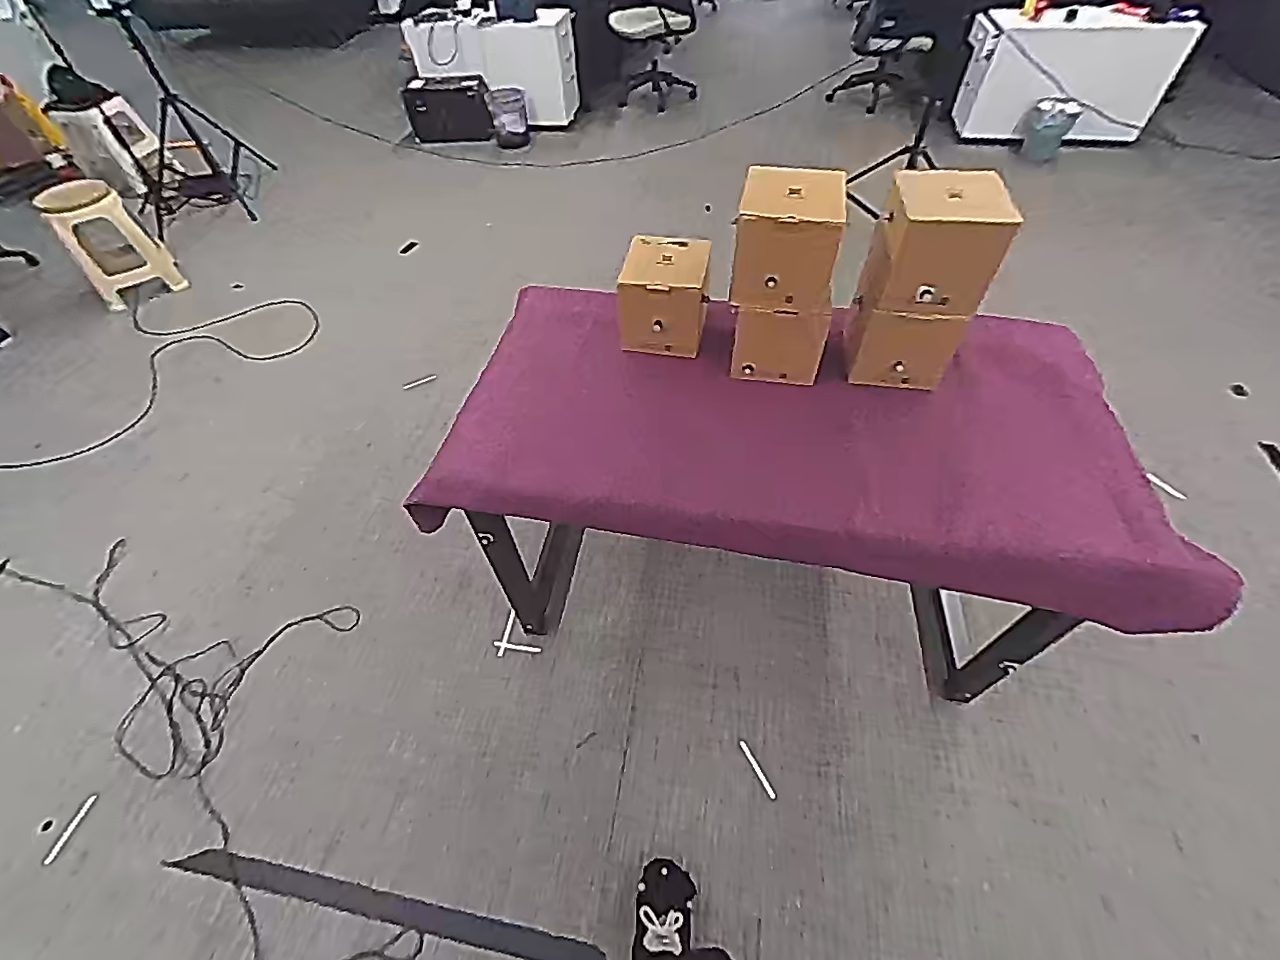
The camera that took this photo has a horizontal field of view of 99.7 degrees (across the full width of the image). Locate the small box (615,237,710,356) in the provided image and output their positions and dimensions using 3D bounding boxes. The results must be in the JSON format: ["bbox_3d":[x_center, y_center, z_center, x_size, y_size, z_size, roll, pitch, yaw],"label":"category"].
[{"bbox_3d":[0.052,-0.383,1.136,0.168,0.176,0.179,8,55,9],"label":"small box"}]

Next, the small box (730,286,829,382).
[{"bbox_3d":[0.273,-0.314,1.075,0.168,0.176,0.179,7,52,7],"label":"small box"}]

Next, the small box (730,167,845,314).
[{"bbox_3d":[0.255,-0.420,0.952,0.168,0.176,0.179,9,54,9],"label":"small box"}]

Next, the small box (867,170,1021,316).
[{"bbox_3d":[0.505,-0.406,0.930,0.168,0.176,0.179,4,53,7],"label":"small box"}]

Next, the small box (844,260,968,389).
[{"bbox_3d":[0.504,-0.303,1.056,0.168,0.176,0.179,6,53,8],"label":"small box"}]
